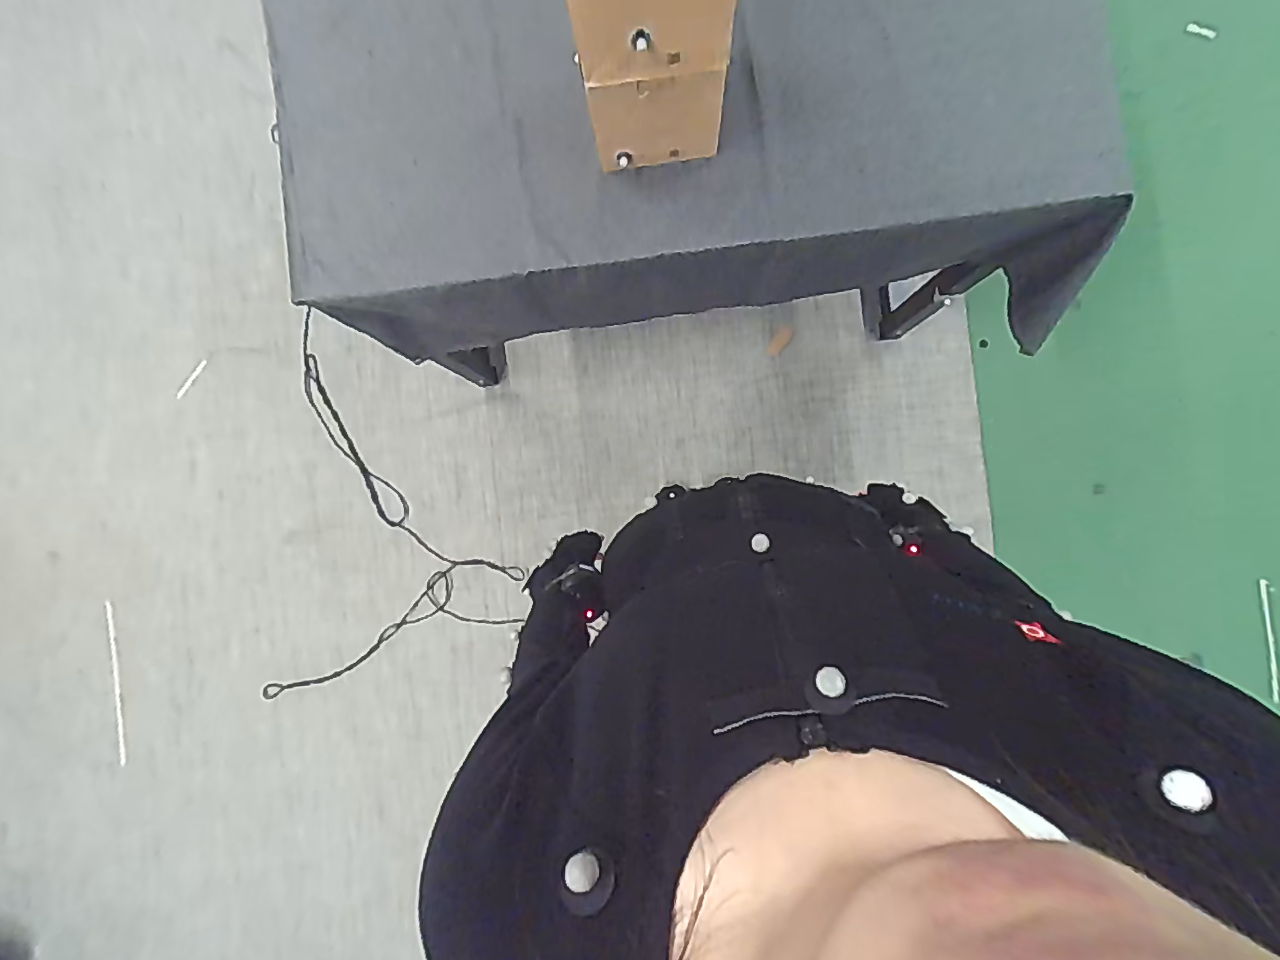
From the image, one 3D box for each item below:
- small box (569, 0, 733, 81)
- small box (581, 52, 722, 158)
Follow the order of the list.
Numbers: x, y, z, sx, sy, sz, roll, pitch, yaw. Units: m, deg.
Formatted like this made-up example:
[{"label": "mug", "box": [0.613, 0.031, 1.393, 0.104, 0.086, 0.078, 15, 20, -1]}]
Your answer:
[{"label": "small box", "box": [0.004, -0.555, 0.544, 0.168, 0.176, 0.179, -6, 88, 3]}, {"label": "small box", "box": [0.014, -0.552, 0.706, 0.168, 0.176, 0.179, -6, 87, 4]}]
